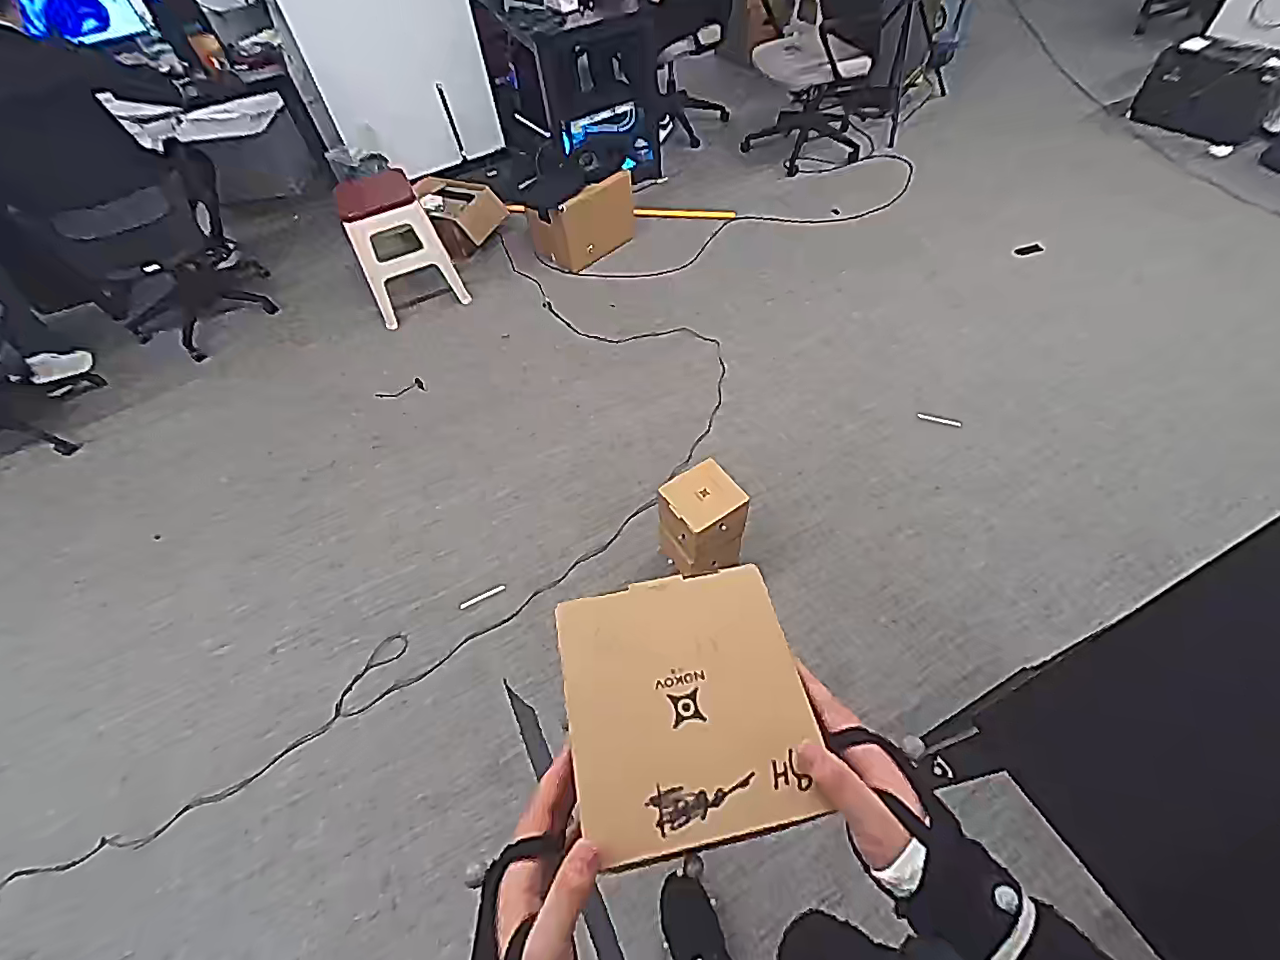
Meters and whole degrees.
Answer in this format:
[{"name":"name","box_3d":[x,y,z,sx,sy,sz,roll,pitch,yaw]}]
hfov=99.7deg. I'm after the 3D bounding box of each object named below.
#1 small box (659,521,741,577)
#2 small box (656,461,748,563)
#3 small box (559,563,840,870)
[{"name":"small box","box_3d":[0.169,0.186,1.560,0.179,0.176,0.168,-28,57,-13]},{"name":"small box","box_3d":[0.162,0.088,1.430,0.179,0.176,0.168,-30,58,-17]},{"name":"small box","box_3d":[0.032,0.195,0.443,0.168,0.176,0.179,-10,53,-6]}]
